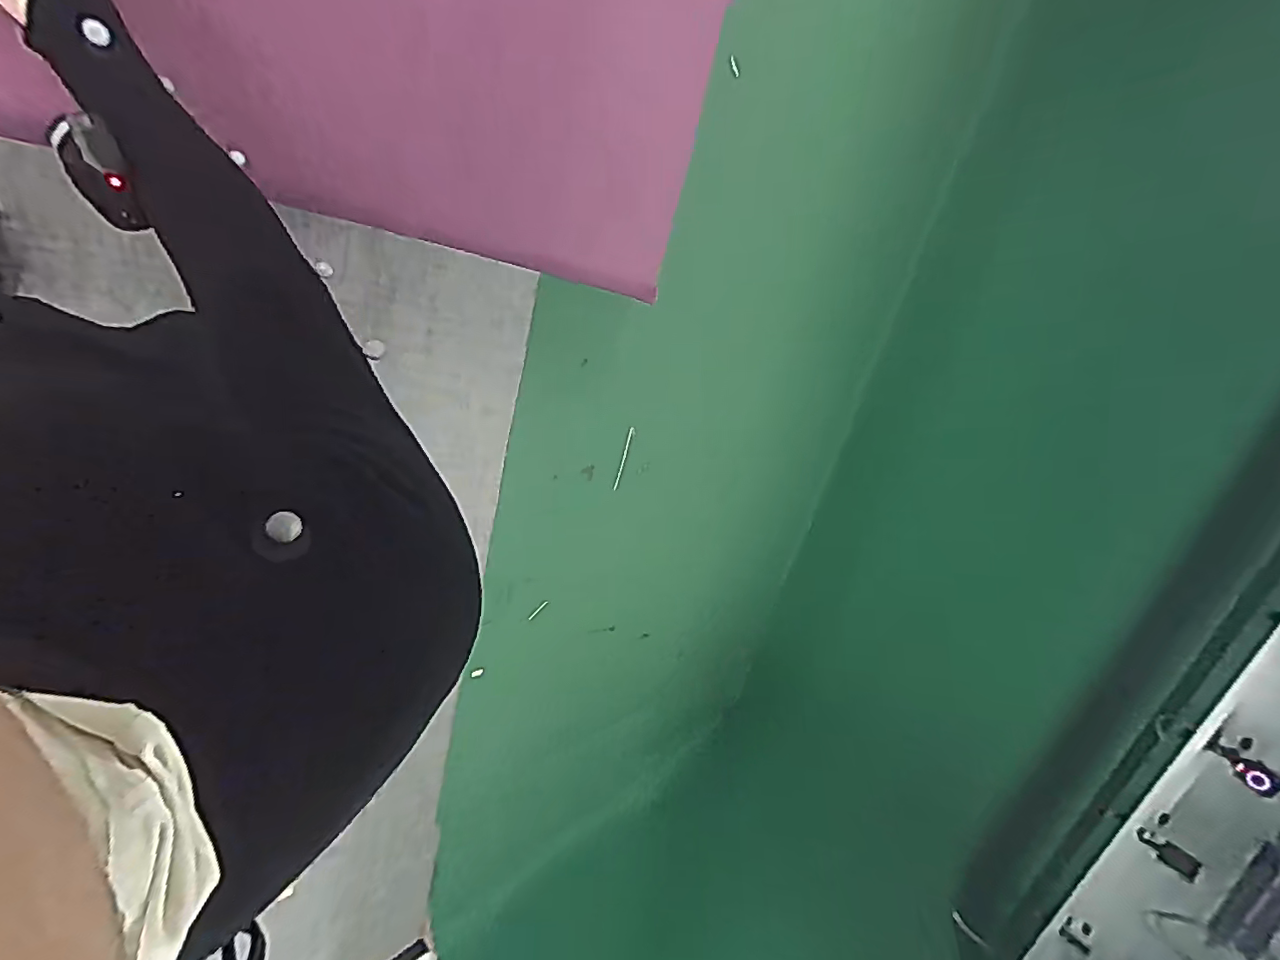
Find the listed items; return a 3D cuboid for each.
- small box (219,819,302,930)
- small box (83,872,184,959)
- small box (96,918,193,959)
[{"bbox_3d":[-1.151,1.182,1.633,0.168,0.176,0.179,0,114,-49],"label":"small box"},{"bbox_3d":[-1.331,1.179,1.416,0.168,0.176,0.179,1,114,-52],"label":"small box"},{"bbox_3d":[-1.212,1.242,1.322,0.168,0.176,0.179,-2,115,-52],"label":"small box"}]
